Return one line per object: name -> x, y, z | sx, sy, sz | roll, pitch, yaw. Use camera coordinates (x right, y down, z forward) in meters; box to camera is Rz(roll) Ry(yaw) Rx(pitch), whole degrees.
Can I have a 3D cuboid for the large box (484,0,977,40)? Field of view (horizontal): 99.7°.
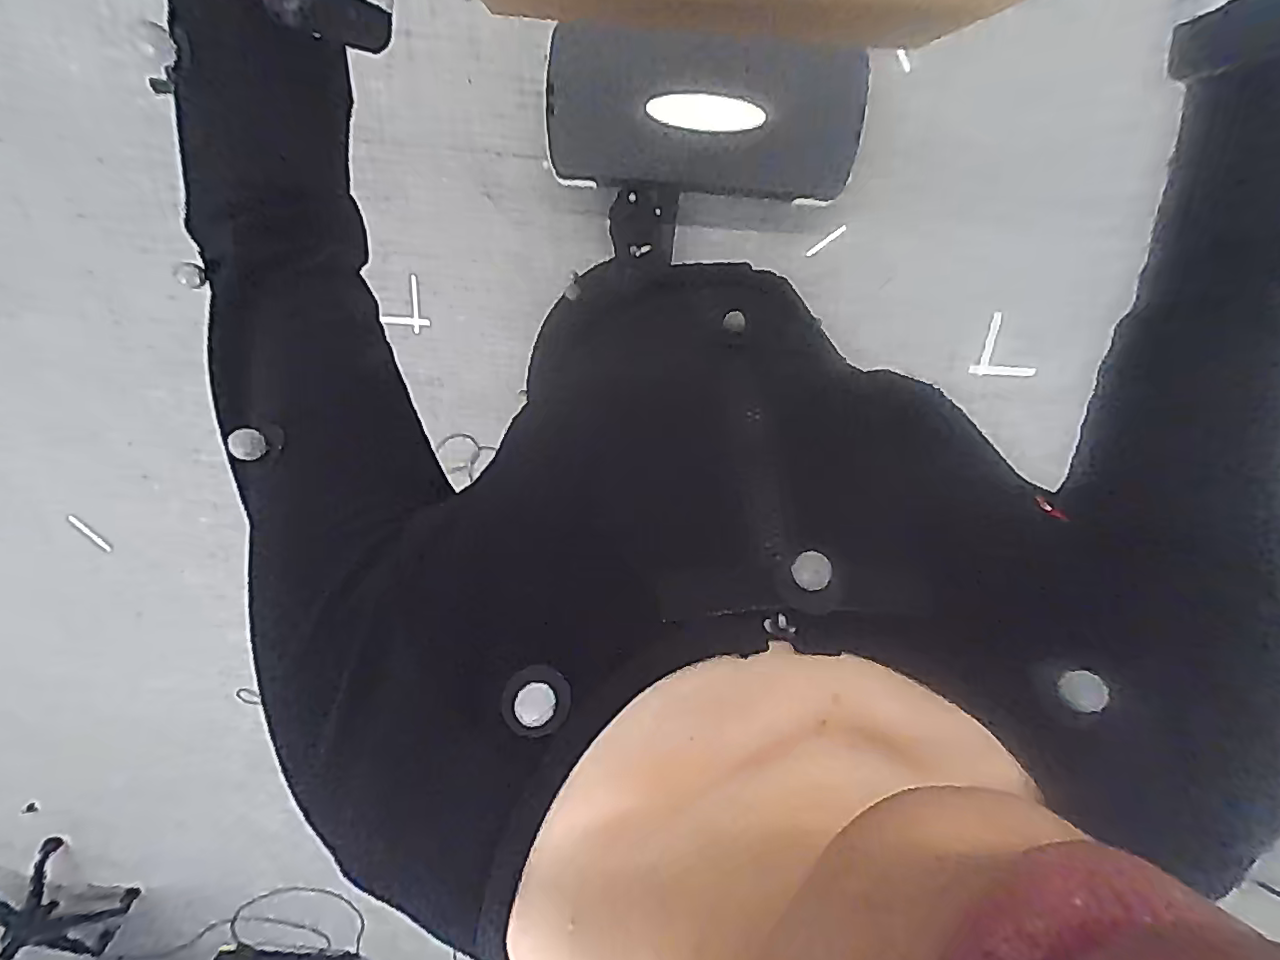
large box -> 0.071, -0.488, 0.308 | 0.408, 0.320, 0.320 | 1, 119, -3
